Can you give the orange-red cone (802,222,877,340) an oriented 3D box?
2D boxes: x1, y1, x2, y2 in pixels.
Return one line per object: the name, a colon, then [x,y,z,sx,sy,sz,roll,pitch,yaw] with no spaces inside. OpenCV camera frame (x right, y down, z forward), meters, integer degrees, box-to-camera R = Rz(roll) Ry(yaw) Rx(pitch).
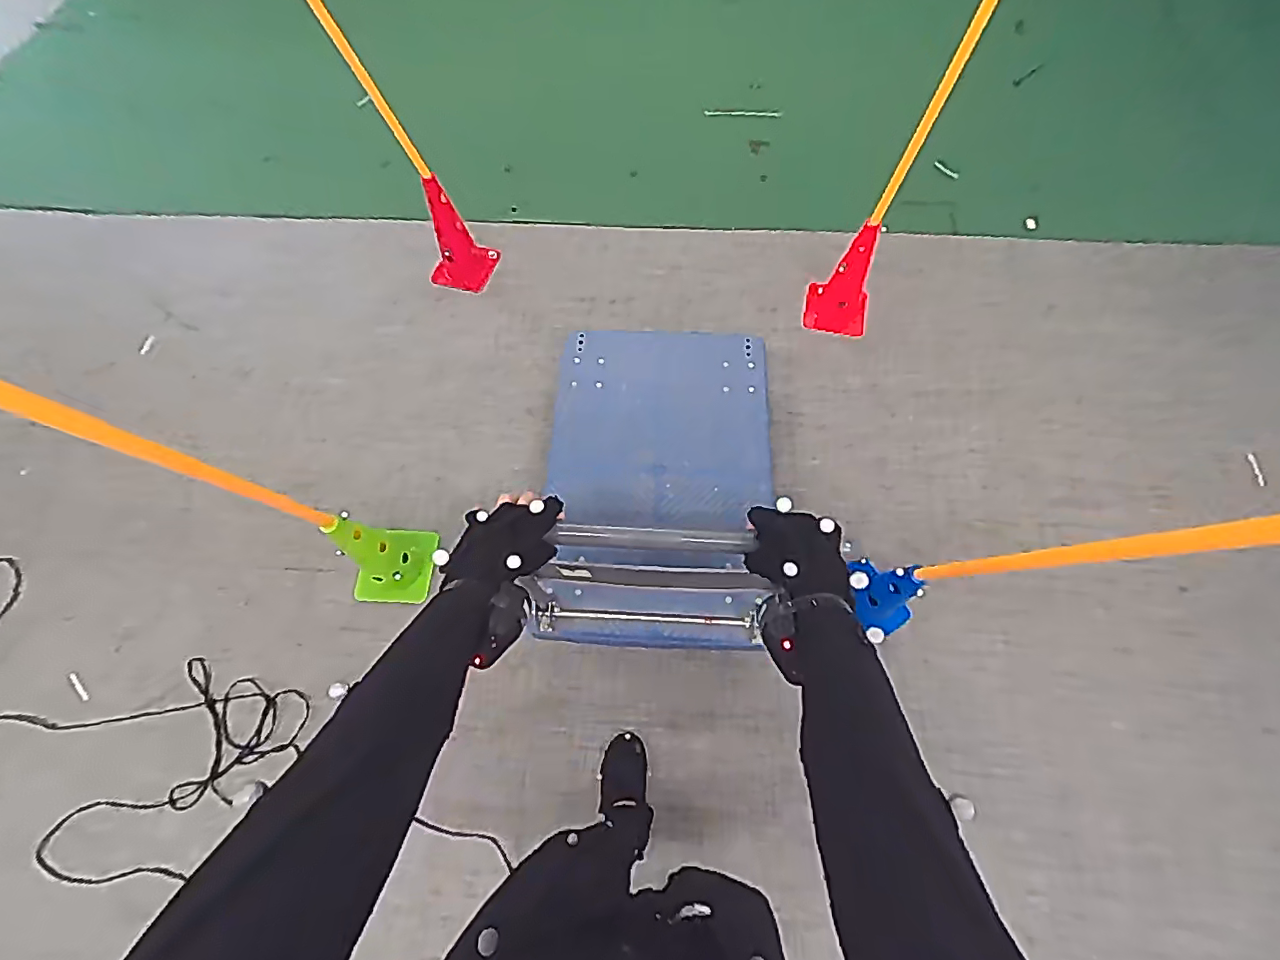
orange-red cone: [0.645,-0.628,1.653,0.198,0.360,0.199,13,68,8]
